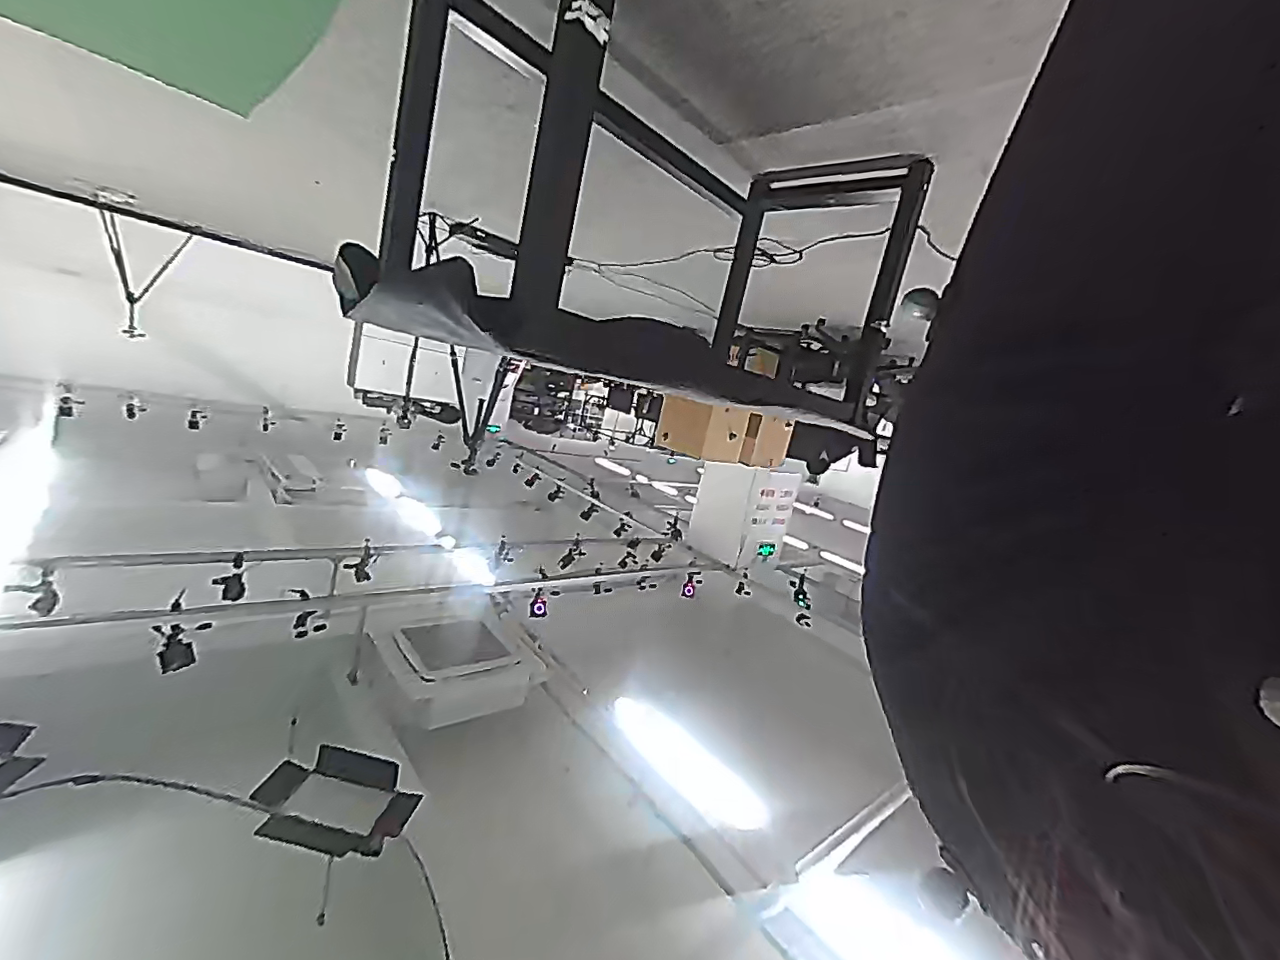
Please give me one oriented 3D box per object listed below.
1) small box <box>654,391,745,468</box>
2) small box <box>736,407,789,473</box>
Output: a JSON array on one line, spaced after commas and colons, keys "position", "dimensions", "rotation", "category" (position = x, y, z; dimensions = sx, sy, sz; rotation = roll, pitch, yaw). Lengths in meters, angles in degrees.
[{"position": [0.166, -0.138, 1.457], "dimensions": [0.168, 0.176, 0.179], "rotation": [4, -166, -45], "category": "small box"}, {"position": [0.328, -0.127, 1.629], "dimensions": [0.168, 0.176, 0.179], "rotation": [5, -167, -42], "category": "small box"}]
